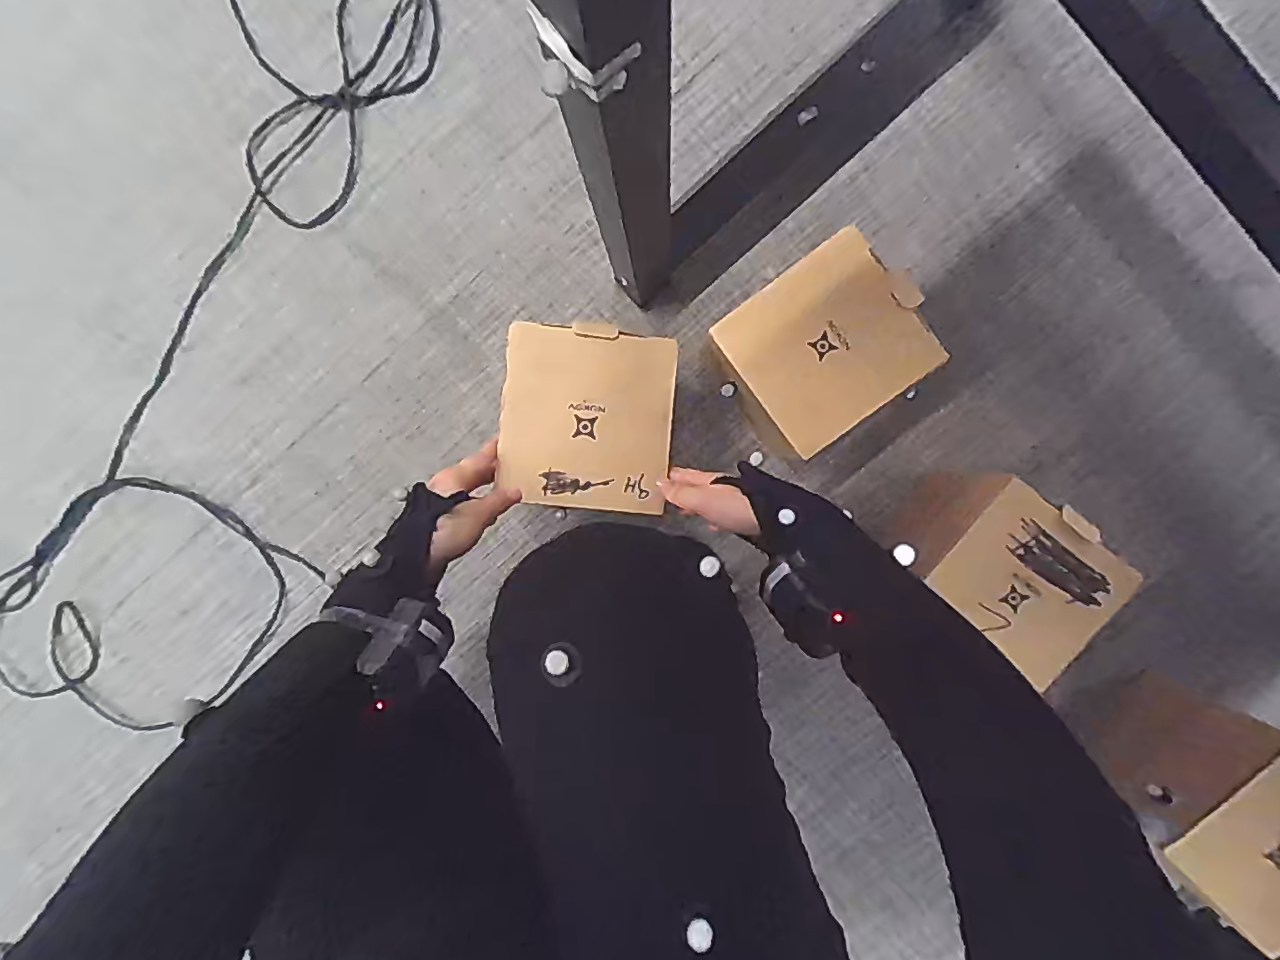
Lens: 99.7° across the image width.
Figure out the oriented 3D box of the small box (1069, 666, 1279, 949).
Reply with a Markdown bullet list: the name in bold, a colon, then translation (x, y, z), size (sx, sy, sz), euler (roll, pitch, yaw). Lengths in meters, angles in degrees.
- **small box**: translation (0.649, 0.354, 0.618), size (0.168, 0.176, 0.179), euler (44, 95, -2)
